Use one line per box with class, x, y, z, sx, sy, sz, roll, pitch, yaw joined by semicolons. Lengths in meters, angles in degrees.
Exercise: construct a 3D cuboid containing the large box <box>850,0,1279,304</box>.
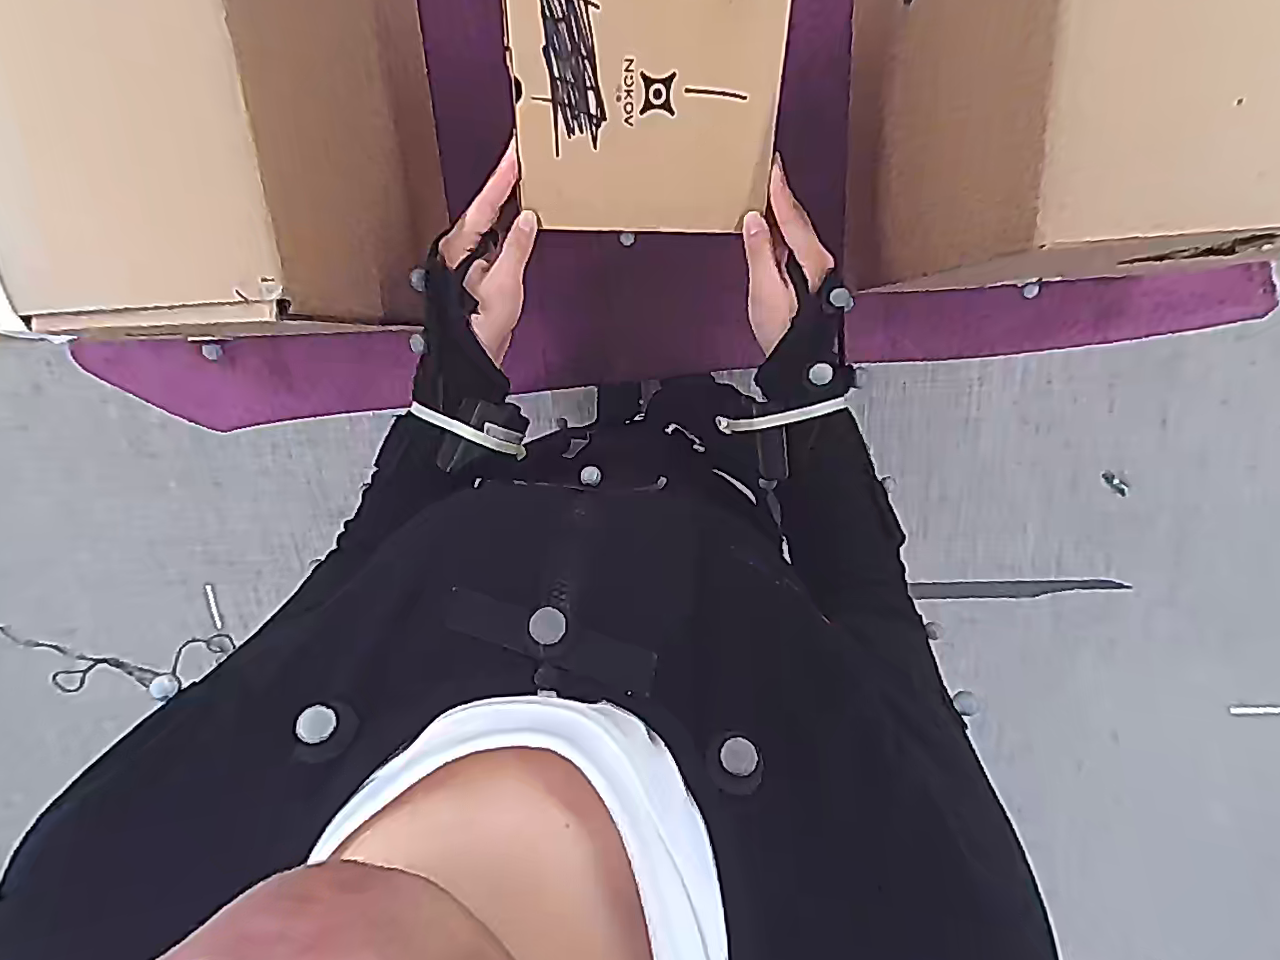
large box;0.344;-0.349;0.361;0.320;0.320;0.408;-3;103;2
